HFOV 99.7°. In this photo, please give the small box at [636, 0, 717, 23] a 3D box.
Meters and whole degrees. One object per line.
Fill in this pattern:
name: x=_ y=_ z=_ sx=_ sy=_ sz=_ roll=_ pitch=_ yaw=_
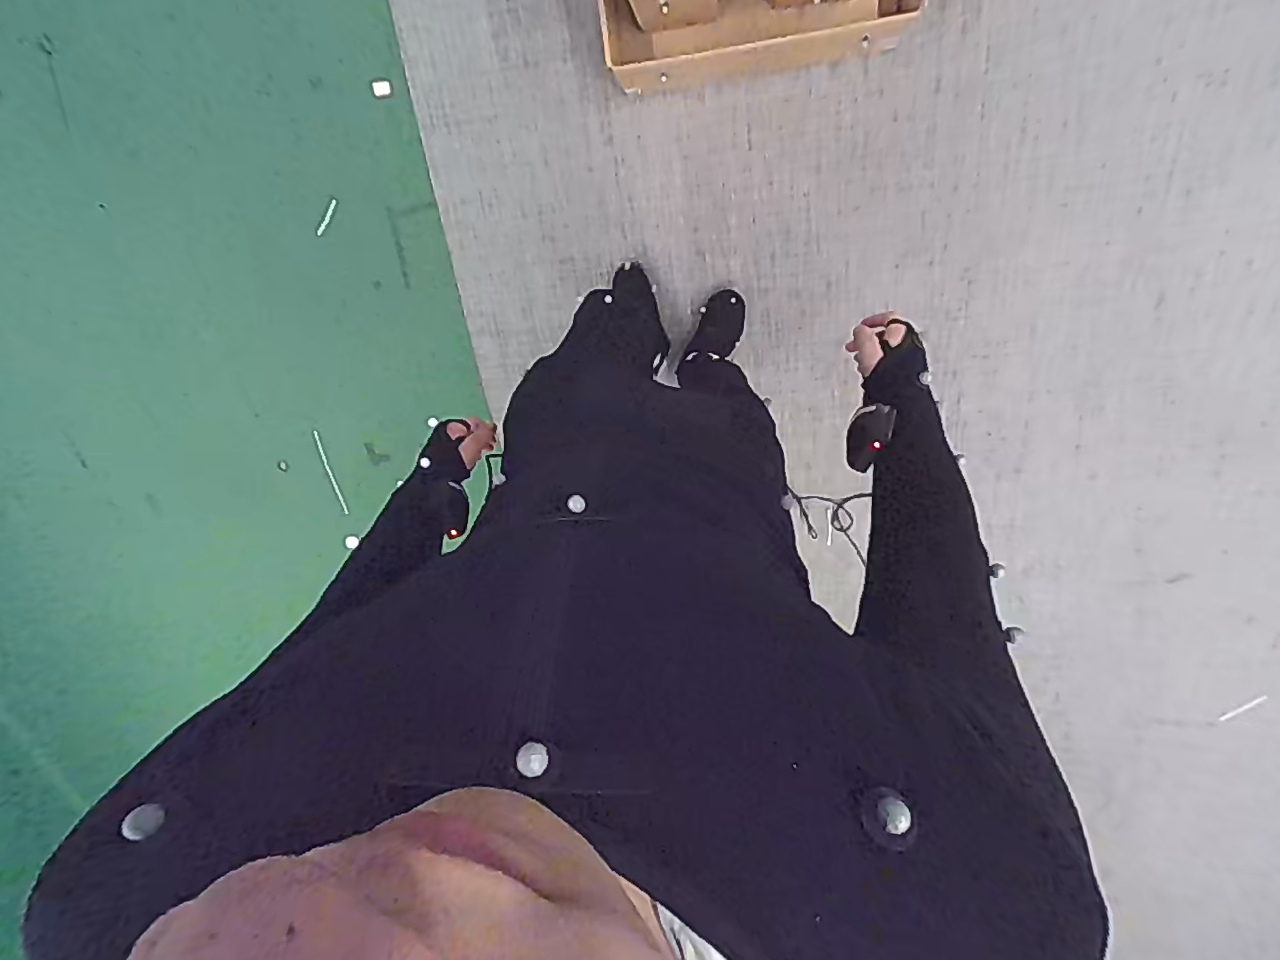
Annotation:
small box: x=0.065 y=-1.039 z=1.053 sx=0.168 sy=0.176 sz=0.179 roll=0 pitch=114 yaw=10
